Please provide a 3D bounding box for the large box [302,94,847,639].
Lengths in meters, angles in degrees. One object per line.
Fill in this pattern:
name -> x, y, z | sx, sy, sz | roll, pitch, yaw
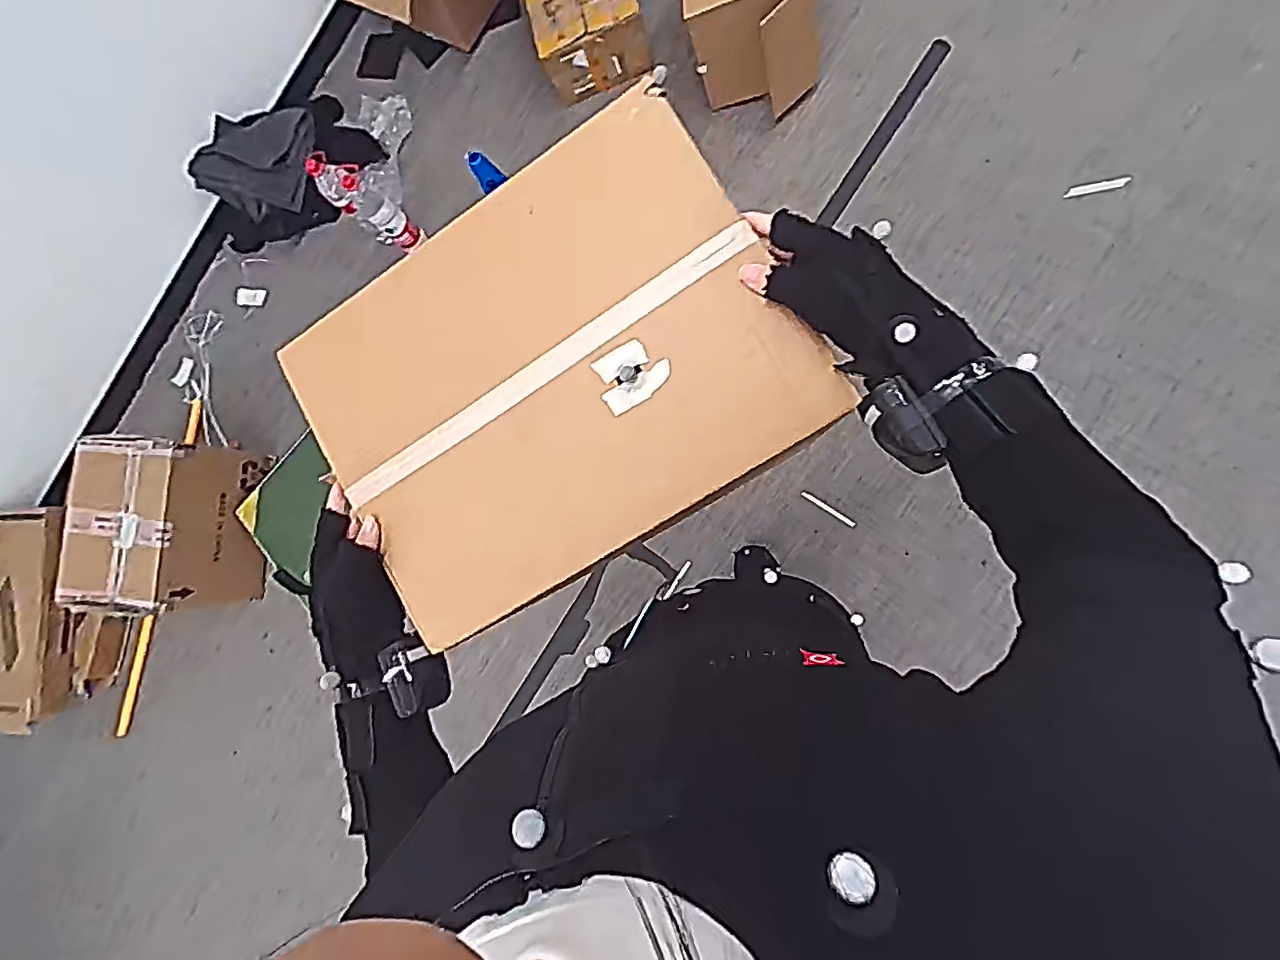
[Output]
large box -> -0.053, -0.086, 0.607 | 0.408, 0.320, 0.320 | -32, 84, 8
